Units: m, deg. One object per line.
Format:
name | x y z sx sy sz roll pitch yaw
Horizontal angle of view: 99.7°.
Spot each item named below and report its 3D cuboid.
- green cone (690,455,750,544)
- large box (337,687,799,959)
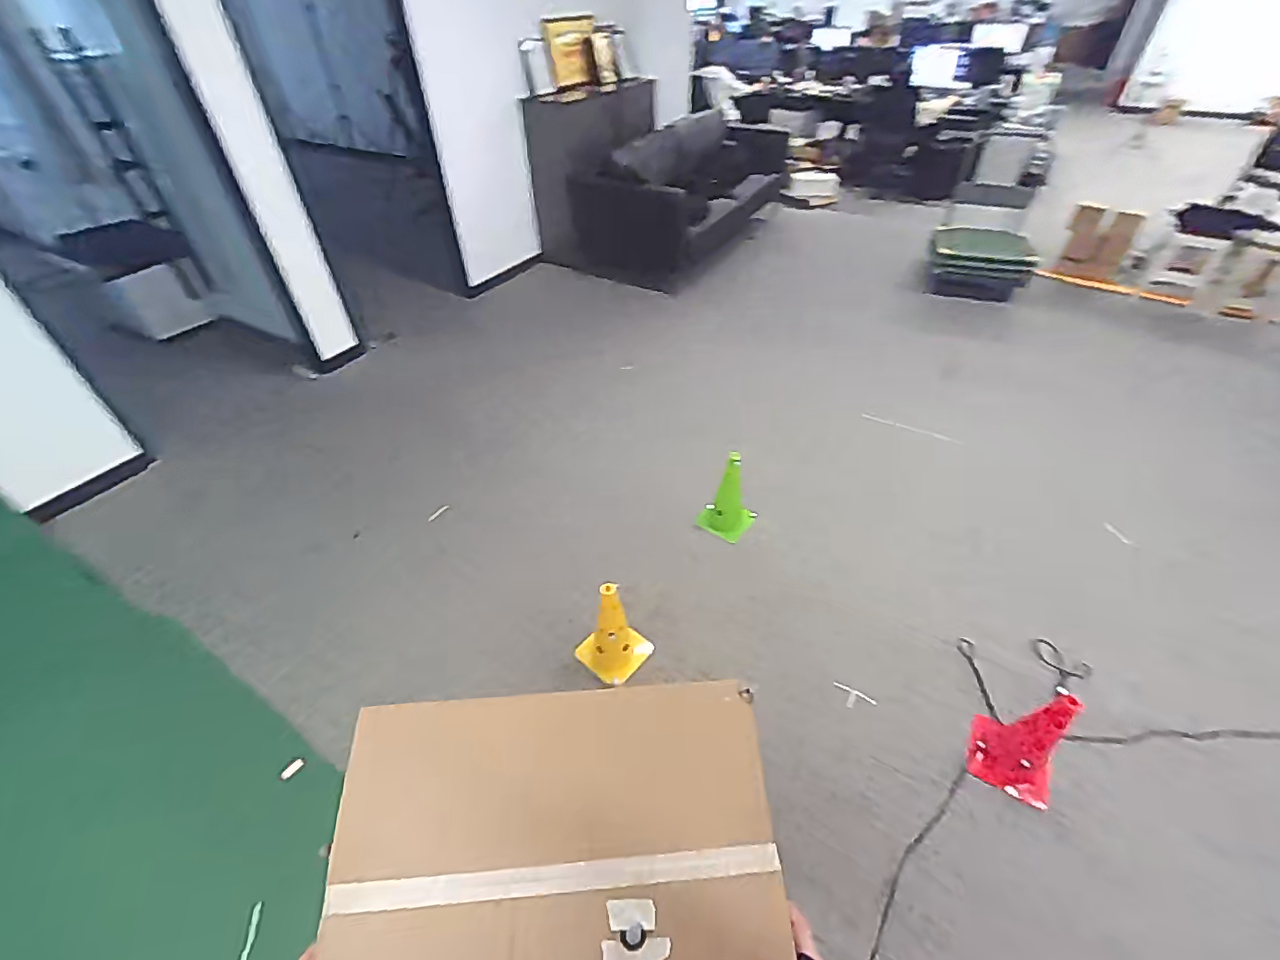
green cone | 0.330 0.046 2.148 0.200 0.368 0.202 26 50 27
large box | -0.071 0.444 0.620 0.408 0.320 0.320 -3 59 -4
